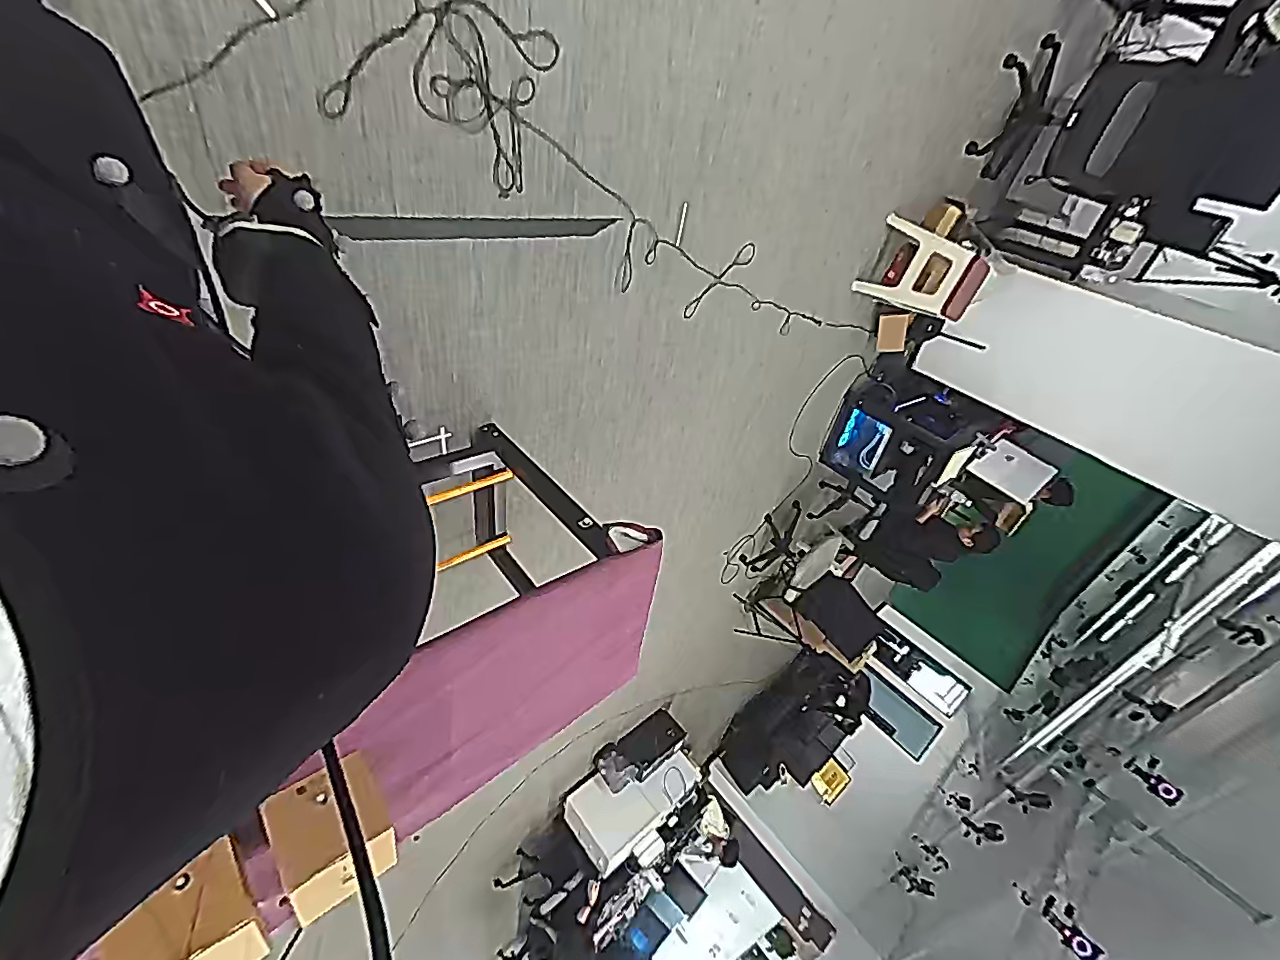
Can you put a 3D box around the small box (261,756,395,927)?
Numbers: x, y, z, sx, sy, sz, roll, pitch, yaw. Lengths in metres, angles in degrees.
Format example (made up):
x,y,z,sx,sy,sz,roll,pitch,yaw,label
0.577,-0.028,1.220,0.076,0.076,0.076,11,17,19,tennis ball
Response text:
x,y,z,sx,sy,sz,roll,pitch,yaw,label
-0.564,0.647,0.985,0.168,0.176,0.179,-19,137,-39,small box

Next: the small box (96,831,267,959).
x,y,z,sx,sy,sz,roll,pitch,yaw,label
-0.721,0.709,0.860,0.168,0.176,0.179,-19,137,-39,small box
